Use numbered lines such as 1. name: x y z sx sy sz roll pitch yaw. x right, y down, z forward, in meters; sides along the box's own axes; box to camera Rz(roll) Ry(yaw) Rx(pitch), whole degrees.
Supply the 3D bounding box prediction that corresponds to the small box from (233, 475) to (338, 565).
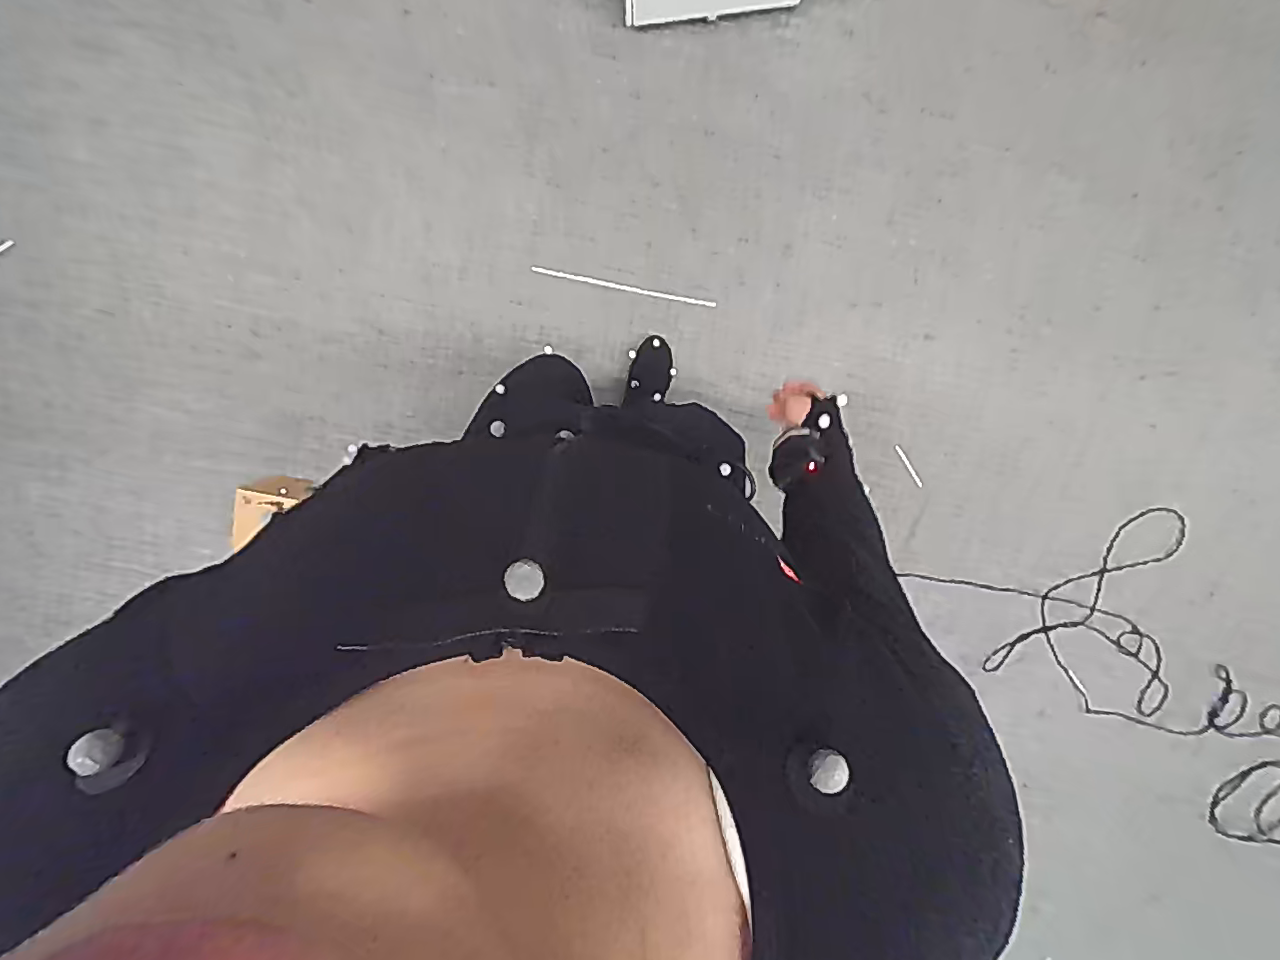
1. small box: -0.922 0.099 1.417 0.168 0.176 0.179 12 102 -3
